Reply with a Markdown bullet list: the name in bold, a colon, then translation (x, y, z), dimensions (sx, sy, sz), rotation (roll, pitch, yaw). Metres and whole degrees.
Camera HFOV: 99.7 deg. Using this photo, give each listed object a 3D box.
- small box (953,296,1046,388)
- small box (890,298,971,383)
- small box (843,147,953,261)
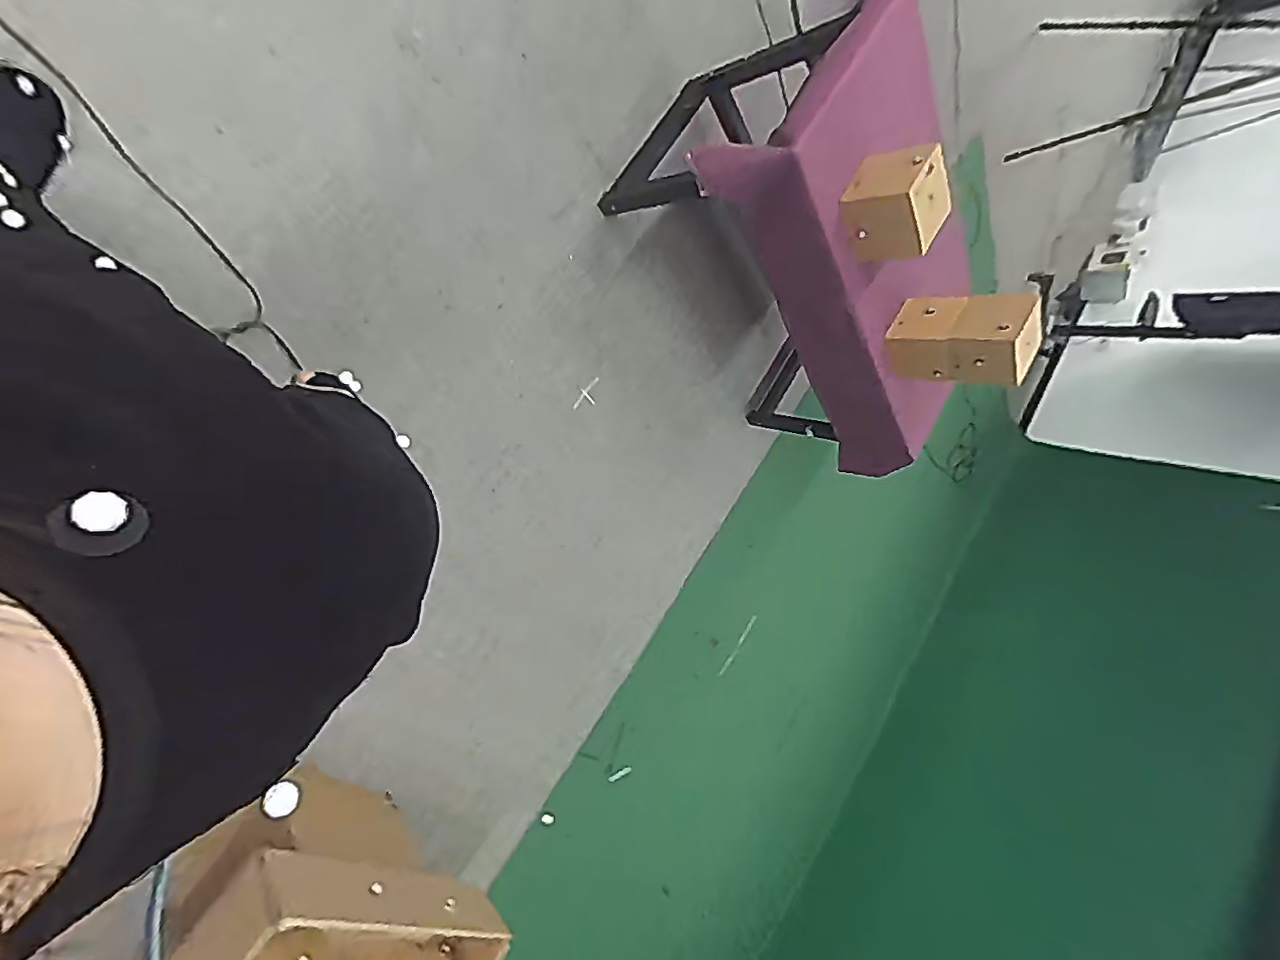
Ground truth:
- **small box**: translation (0.965, -0.372, 1.459), dimensions (0.179, 0.176, 0.168), rotation (-54, 132, -16)
- **small box**: translation (0.853, -0.404, 1.576), dimensions (0.168, 0.176, 0.179), rotation (-55, 132, -15)
- **small box**: translation (0.610, -0.644, 1.280), dimensions (0.168, 0.176, 0.179), rotation (-56, 133, -14)
